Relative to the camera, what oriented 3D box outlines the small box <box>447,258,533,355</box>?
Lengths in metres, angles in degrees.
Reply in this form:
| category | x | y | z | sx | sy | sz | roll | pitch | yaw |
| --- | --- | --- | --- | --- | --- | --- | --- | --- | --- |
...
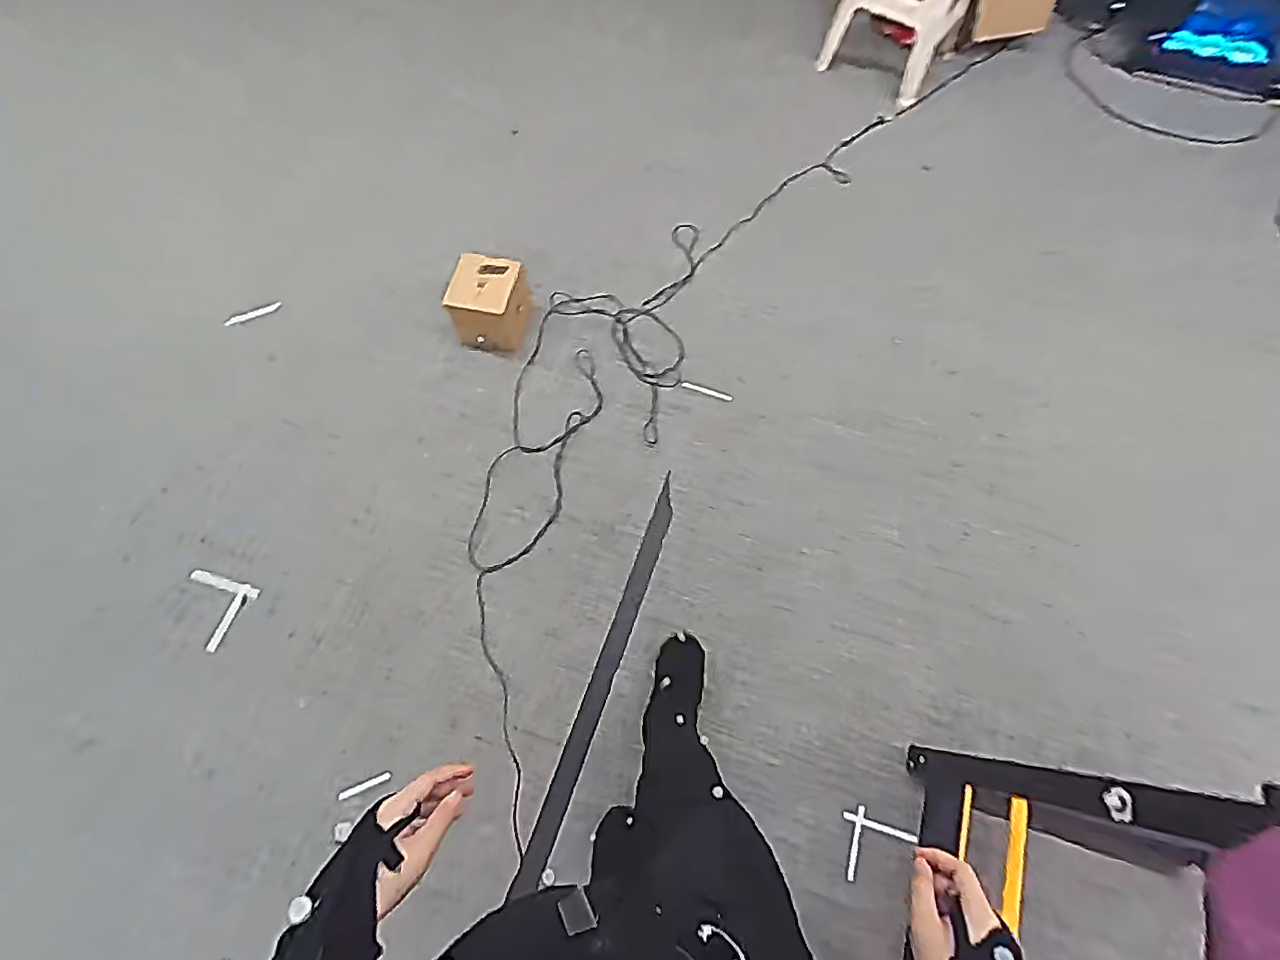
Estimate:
| category | x | y | z | sx | sy | sz | roll | pitch | yaw |
| --- | --- | --- | --- | --- | --- | --- | --- | --- | --- |
| small box | -0.403 | -0.475 | 1.490 | 0.168 | 0.176 | 0.179 | 11 | 69 | 5 |
